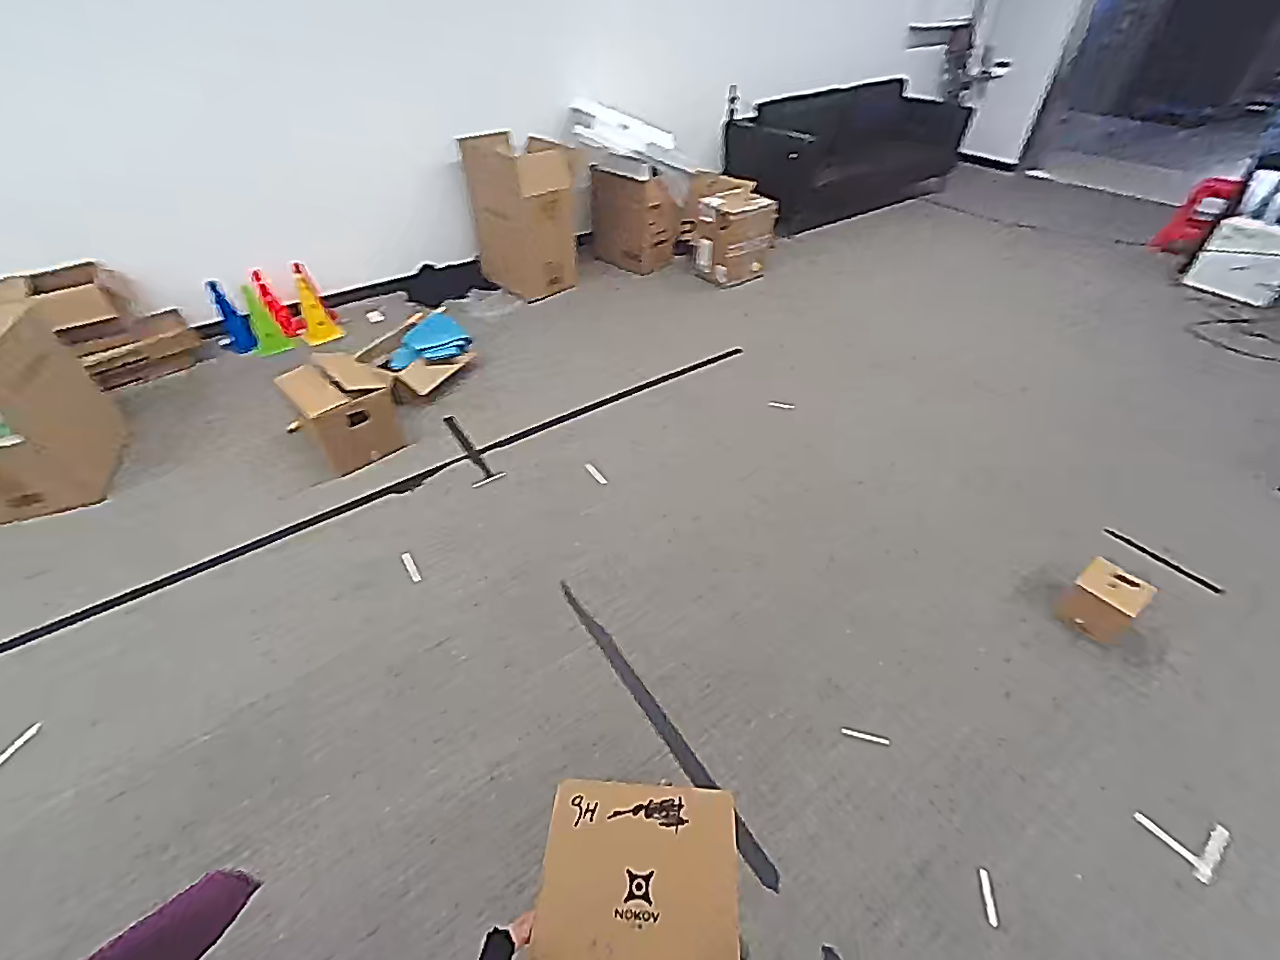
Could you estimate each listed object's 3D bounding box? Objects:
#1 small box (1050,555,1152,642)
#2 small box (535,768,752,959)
[{"bbox_3d":[1.465,0.379,1.728,0.179,0.176,0.168,-28,49,-25],"label":"small box"},{"bbox_3d":[0.011,0.388,0.487,0.168,0.176,0.179,2,43,6],"label":"small box"}]
